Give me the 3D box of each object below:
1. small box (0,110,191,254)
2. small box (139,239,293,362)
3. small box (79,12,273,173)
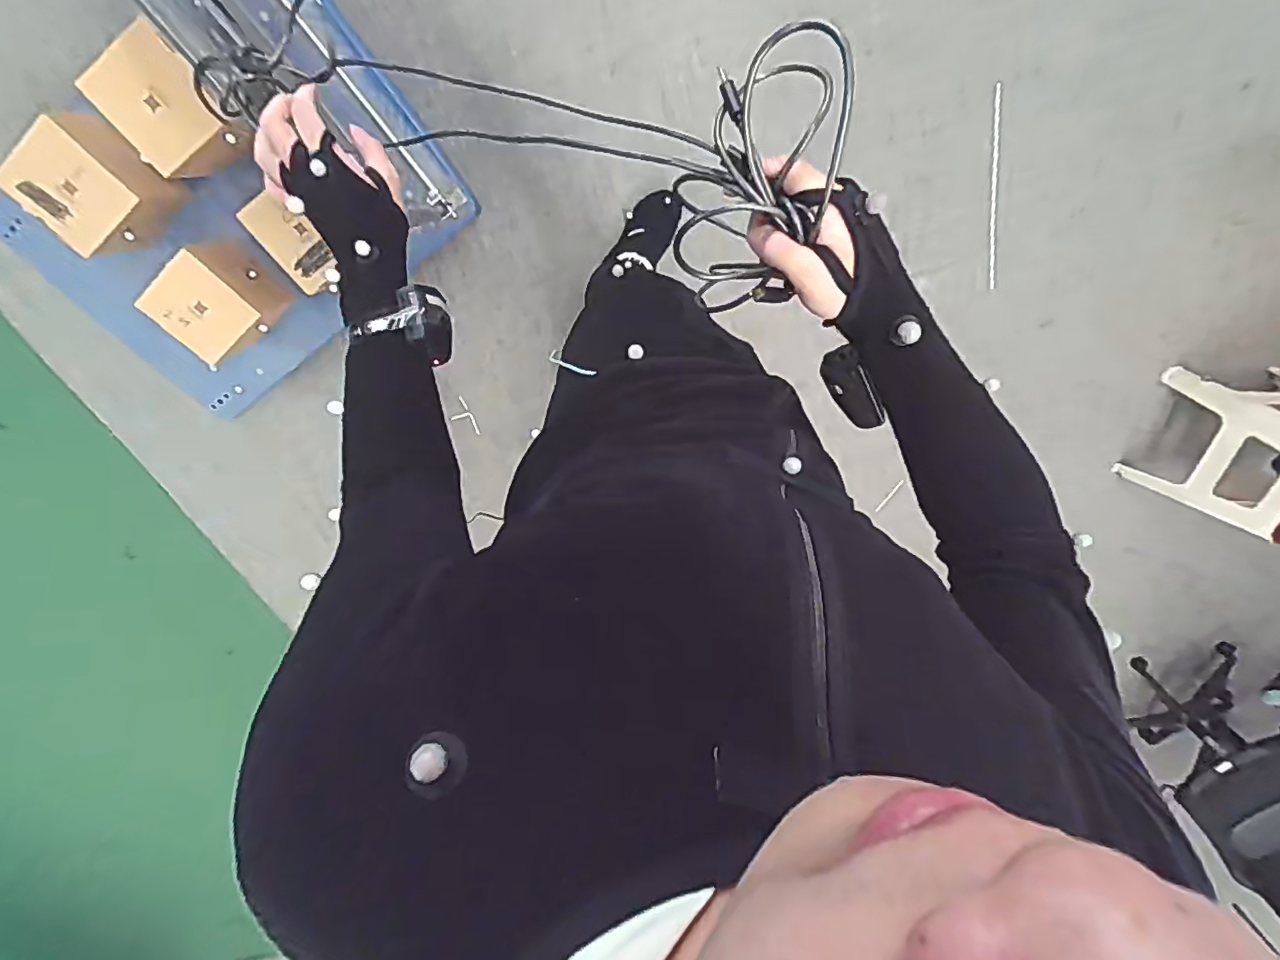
[{"bbox_3d":[-1.029,-0.568,1.039,0.179,0.176,0.168,-33,118,14],"label":"small box"},{"bbox_3d":[-0.886,-0.390,1.155,0.179,0.176,0.168,-35,116,15],"label":"small box"},{"bbox_3d":[-0.823,-0.687,0.983,0.179,0.176,0.168,-30,119,12],"label":"small box"}]
